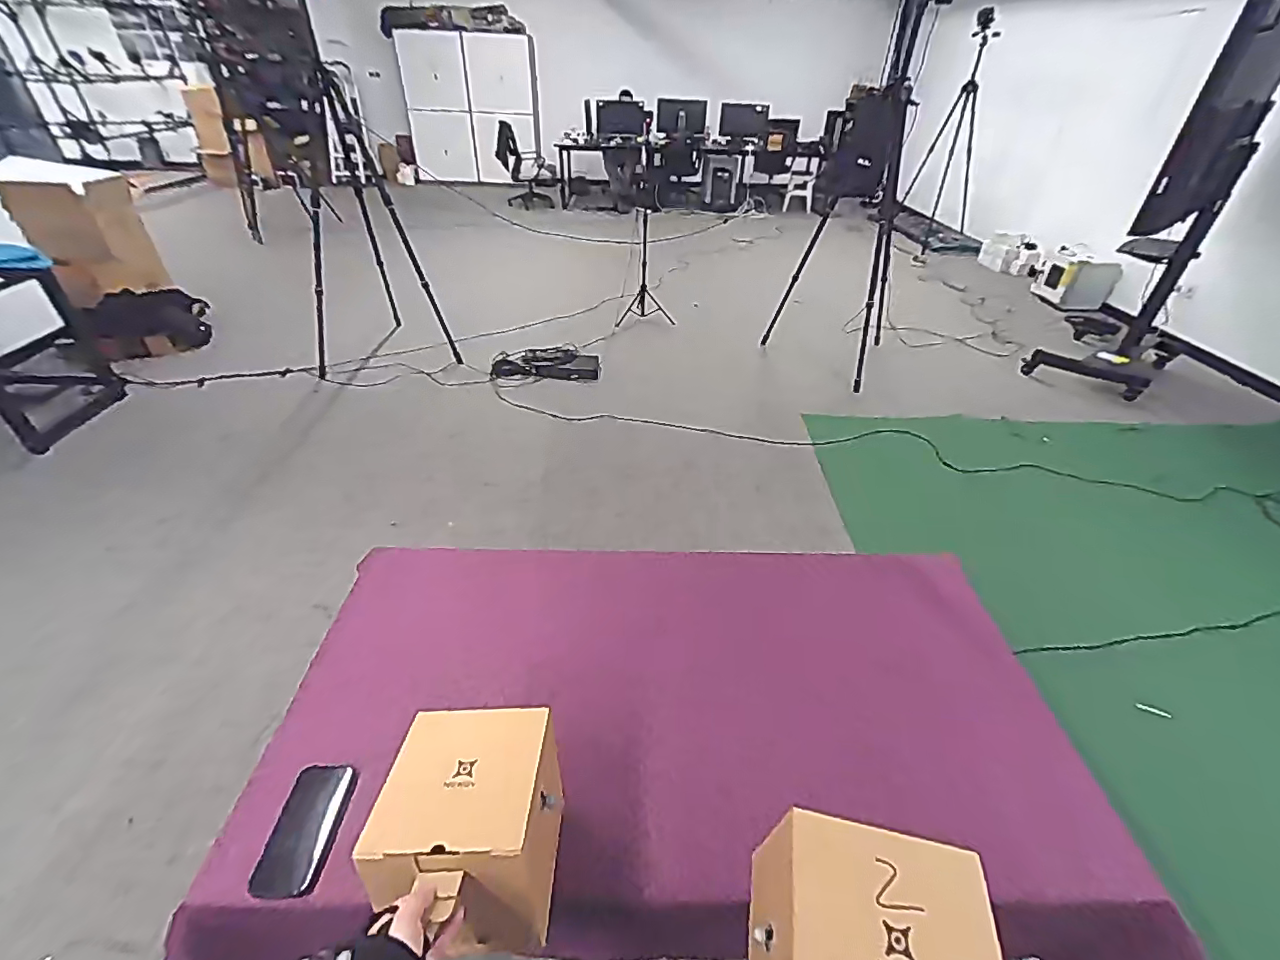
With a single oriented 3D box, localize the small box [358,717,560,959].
[{"bbox_3d":[-0.187,0.401,0.618,0.168,0.176,0.179,-1,24,1],"label":"small box"}]
